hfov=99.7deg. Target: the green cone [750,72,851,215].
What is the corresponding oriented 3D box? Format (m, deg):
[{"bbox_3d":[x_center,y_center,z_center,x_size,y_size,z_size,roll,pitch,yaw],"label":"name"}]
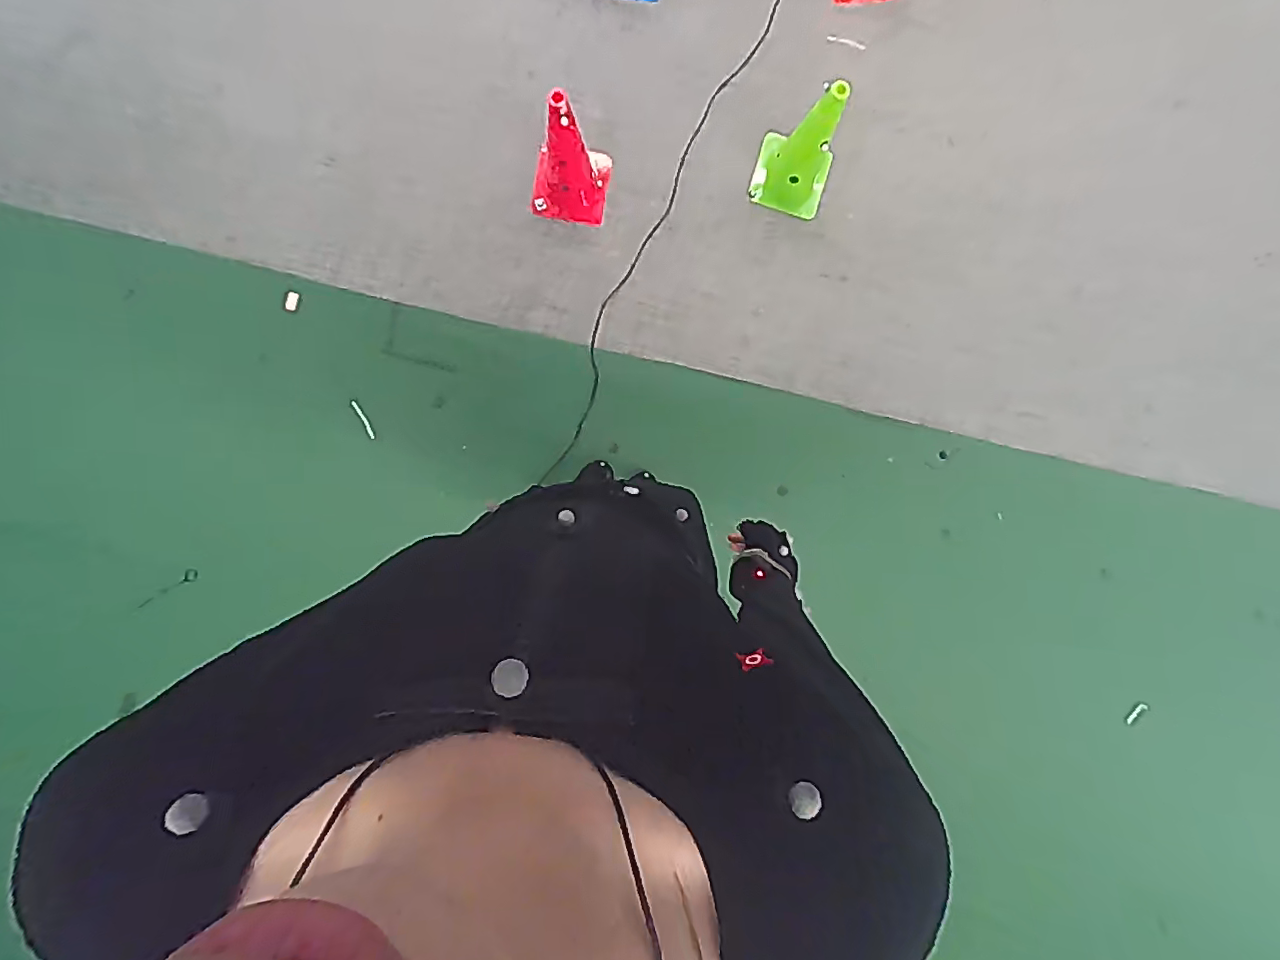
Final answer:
[{"bbox_3d":[0.428,-0.854,1.337,0.200,0.368,0.202,15,90,-3],"label":"green cone"}]
